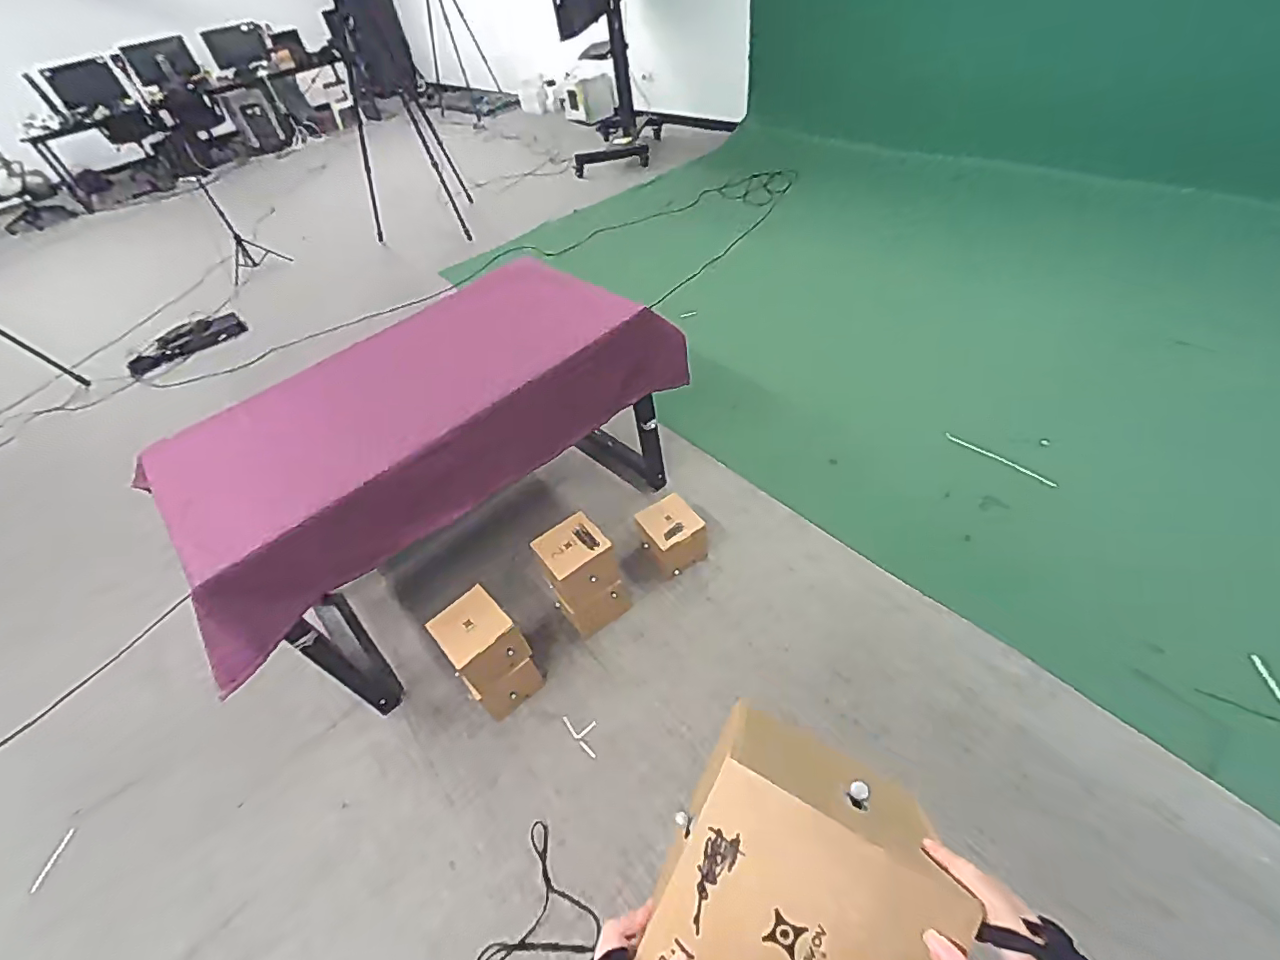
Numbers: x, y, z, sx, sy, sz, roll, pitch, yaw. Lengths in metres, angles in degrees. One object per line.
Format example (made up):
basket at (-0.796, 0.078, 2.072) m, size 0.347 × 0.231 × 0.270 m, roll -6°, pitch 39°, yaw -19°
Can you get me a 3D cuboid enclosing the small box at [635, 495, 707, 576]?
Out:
small box at (0.105, 0.188, 1.764) m, size 0.168 × 0.176 × 0.179 m, roll -29°, pitch 48°, yaw -16°
